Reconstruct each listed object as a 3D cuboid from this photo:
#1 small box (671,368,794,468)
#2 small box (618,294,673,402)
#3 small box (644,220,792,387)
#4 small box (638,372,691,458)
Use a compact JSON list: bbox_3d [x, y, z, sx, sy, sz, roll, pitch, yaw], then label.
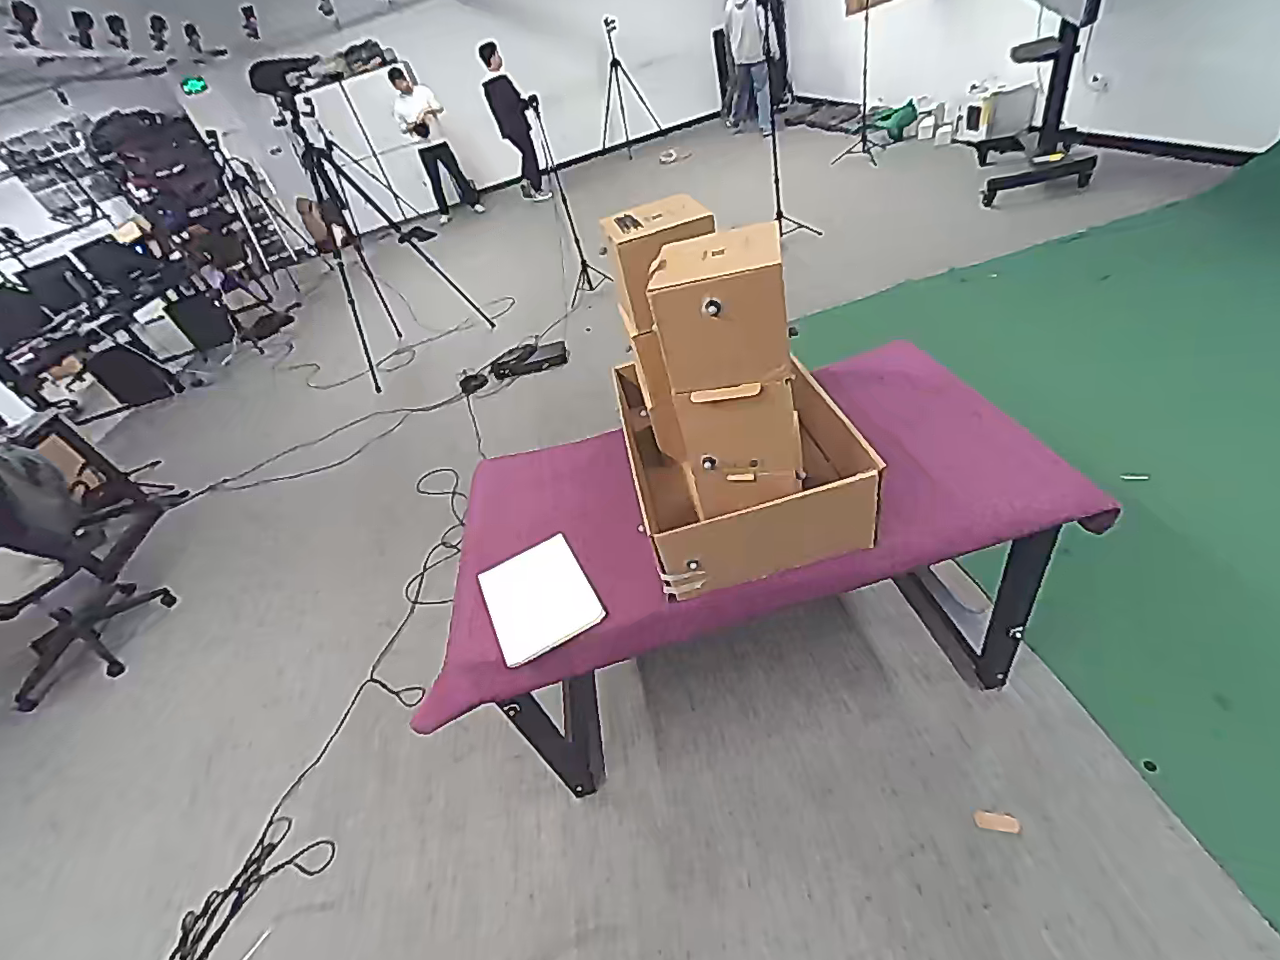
[{"bbox_3d":[0.163,-0.132,0.892,0.168,0.176,0.179,-4,40,20],"label":"small box"},{"bbox_3d":[0.070,-0.284,1.112,0.179,0.176,0.168,-18,41,1],"label":"small box"},{"bbox_3d":[0.122,-0.250,0.787,0.179,0.176,0.168,-5,41,18],"label":"small box"},{"bbox_3d":[0.103,-0.167,1.220,0.168,0.176,0.179,-16,41,3],"label":"small box"}]
